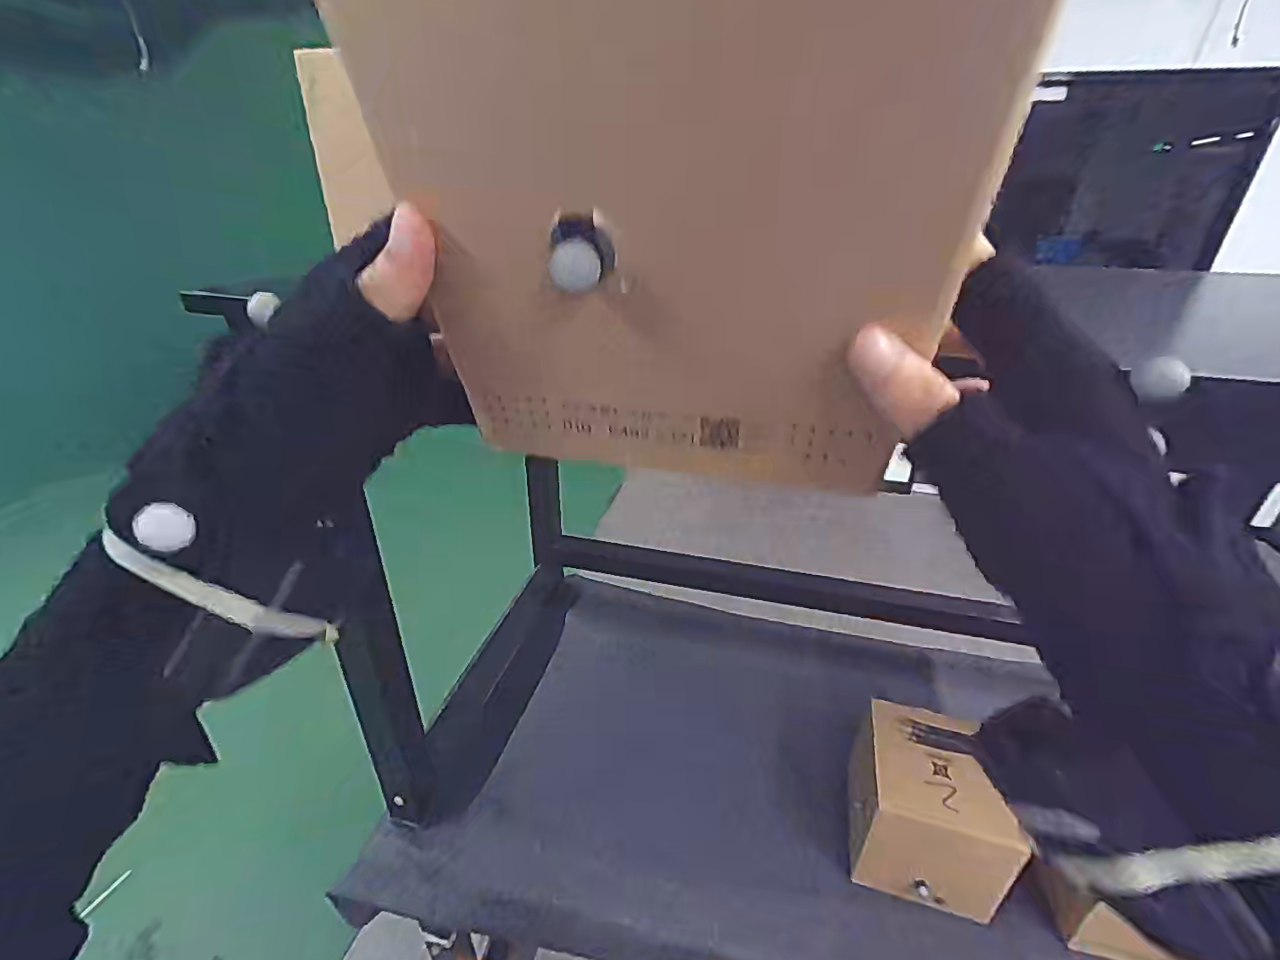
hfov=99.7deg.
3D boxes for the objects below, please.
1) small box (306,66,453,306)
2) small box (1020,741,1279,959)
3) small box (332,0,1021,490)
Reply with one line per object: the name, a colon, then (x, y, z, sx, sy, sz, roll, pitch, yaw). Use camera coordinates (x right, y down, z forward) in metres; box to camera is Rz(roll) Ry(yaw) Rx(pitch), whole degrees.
small box: (-0.157, -0.260, 0.497, 0.168, 0.176, 0.179, 7, 29, 11)
small box: (0.627, 0.477, 0.687, 0.168, 0.176, 0.179, 7, 27, 11)
small box: (0.027, -0.116, 0.227, 0.168, 0.176, 0.179, 7, 46, 12)
